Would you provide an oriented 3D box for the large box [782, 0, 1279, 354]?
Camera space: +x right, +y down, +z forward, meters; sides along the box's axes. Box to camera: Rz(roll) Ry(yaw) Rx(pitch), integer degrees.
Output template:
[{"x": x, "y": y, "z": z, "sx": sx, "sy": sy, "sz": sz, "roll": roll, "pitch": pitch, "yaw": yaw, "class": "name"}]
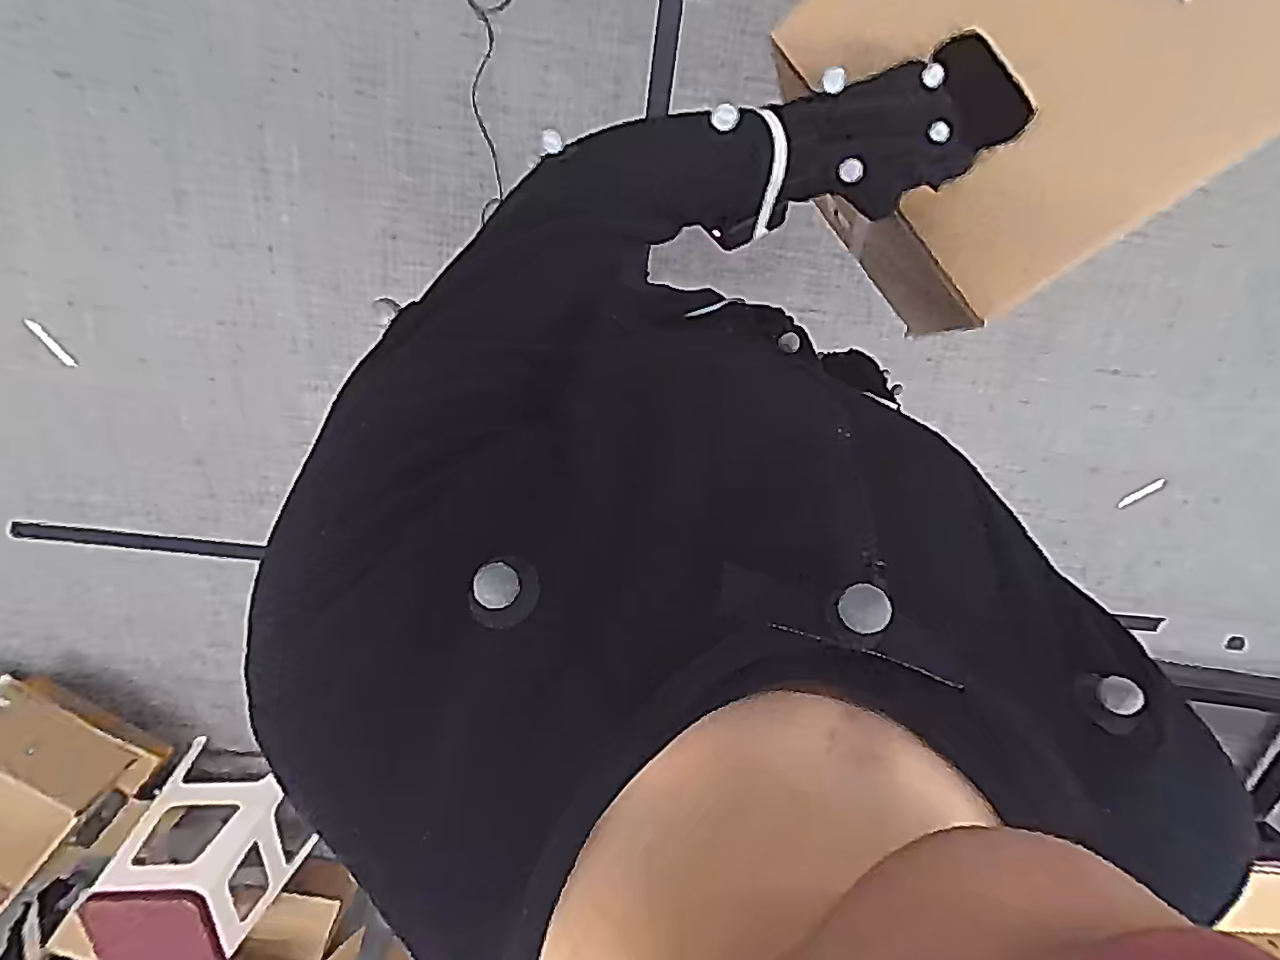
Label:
[{"x": 0.391, "y": -0.359, "z": 0.594, "sx": 0.320, "sy": 0.408, "sz": 0.320, "roll": -32, "pitch": 89, "yaw": 24, "class": "large box"}]
